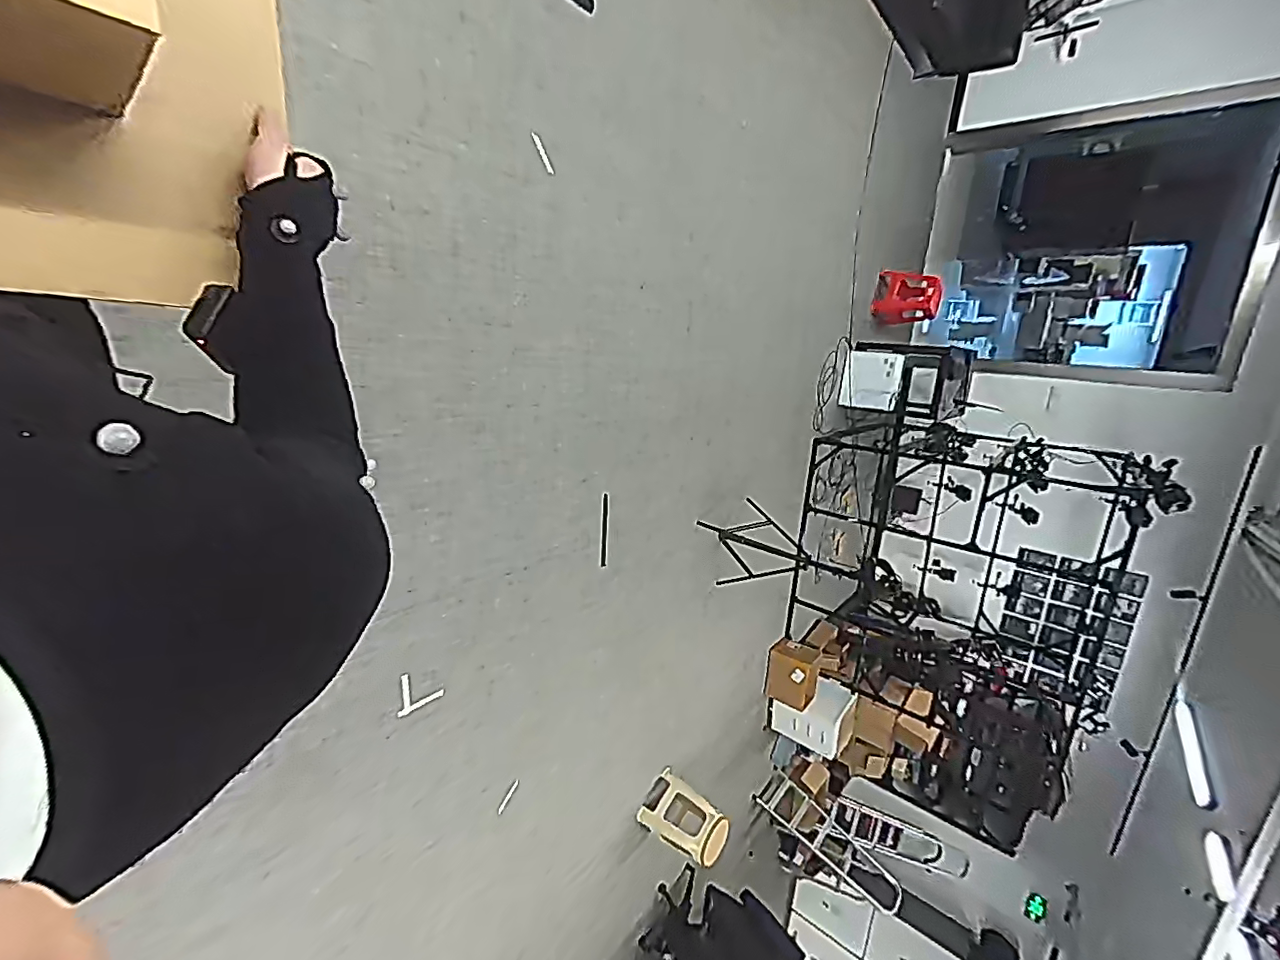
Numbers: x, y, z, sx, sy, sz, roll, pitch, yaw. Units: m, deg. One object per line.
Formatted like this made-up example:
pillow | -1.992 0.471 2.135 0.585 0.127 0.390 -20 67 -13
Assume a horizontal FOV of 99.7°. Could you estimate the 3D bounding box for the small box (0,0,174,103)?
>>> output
small box | -0.418 -0.360 0.322 0.179 0.176 0.168 -12 107 -47
